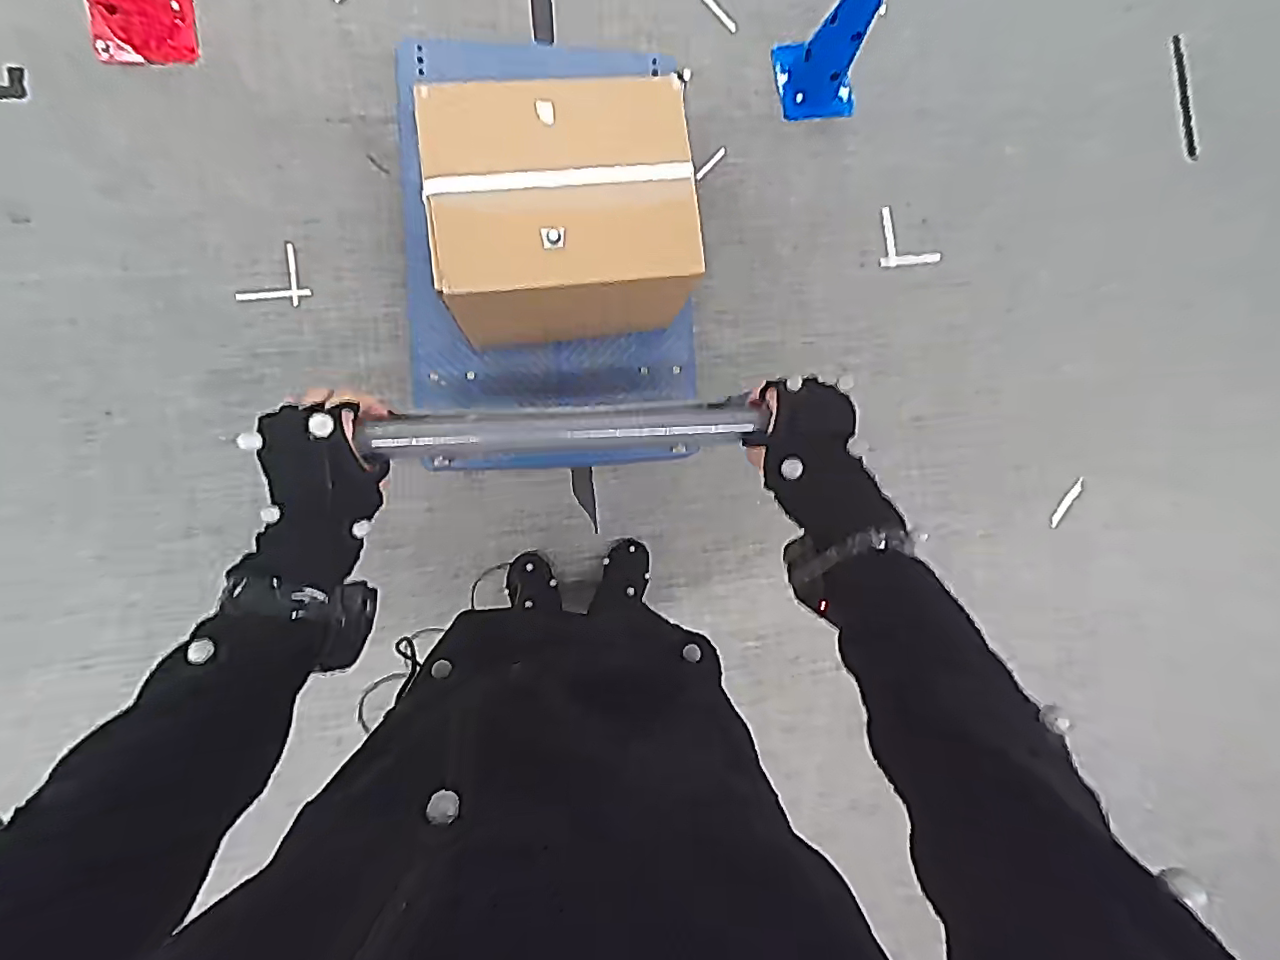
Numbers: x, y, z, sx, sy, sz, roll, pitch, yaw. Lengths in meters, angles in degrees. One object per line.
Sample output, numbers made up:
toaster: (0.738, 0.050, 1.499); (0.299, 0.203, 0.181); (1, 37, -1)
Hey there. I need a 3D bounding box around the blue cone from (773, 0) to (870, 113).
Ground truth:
blue cone: (0.469, -1.050, 1.236); (0.193, 0.380, 0.192); (-10, 89, -9)
